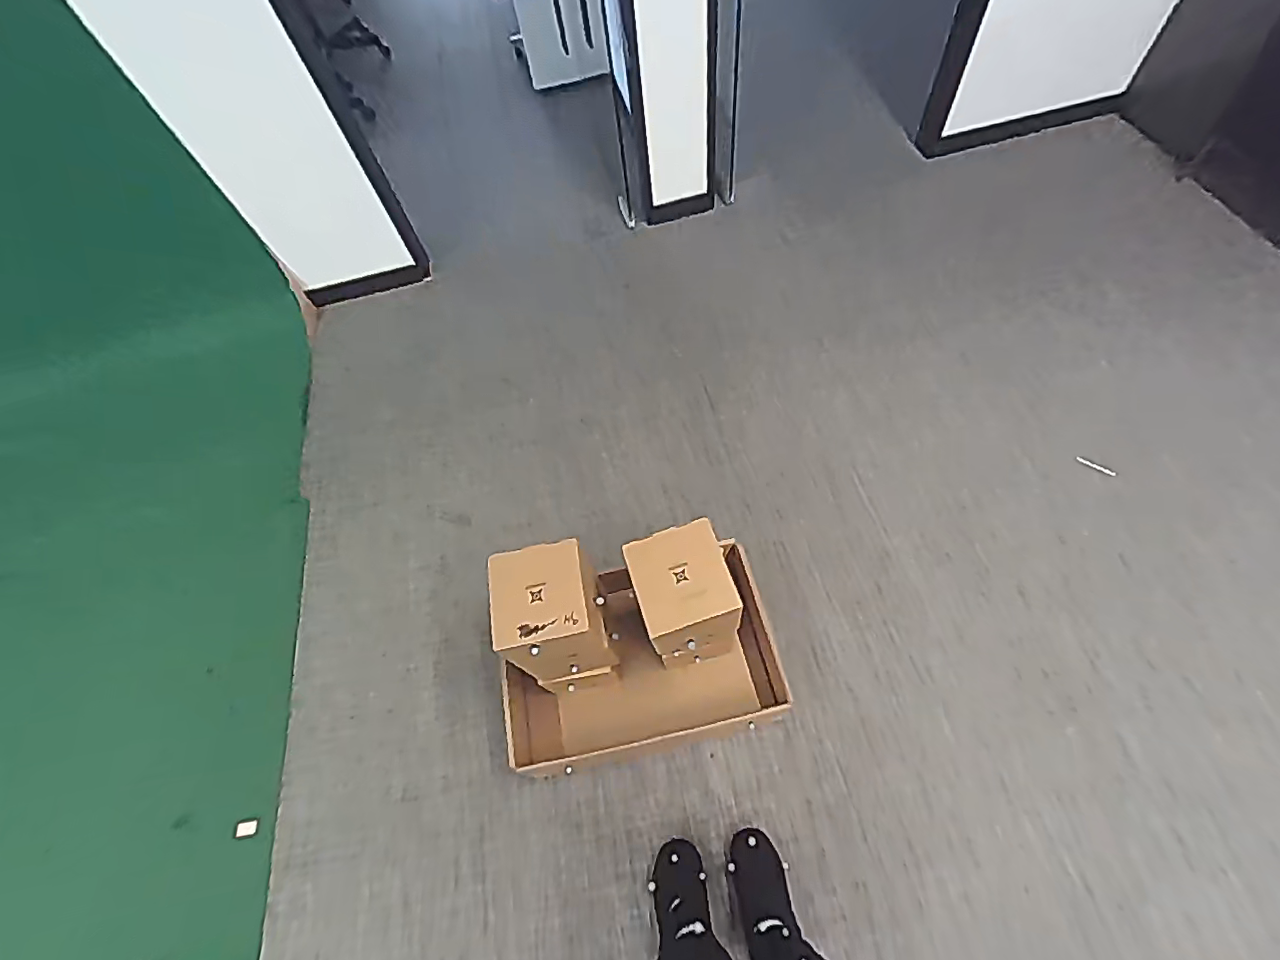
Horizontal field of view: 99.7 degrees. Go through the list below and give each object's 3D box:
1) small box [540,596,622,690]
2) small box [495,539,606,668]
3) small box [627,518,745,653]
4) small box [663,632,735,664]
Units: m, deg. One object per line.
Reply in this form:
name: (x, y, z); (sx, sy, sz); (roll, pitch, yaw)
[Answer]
small box: (-0.141, 0.398, 1.297); (0.168, 0.176, 0.179); (-10, 60, 0)
small box: (-0.164, 0.235, 1.011); (0.168, 0.176, 0.179); (-12, 60, 1)
small box: (0.083, 0.200, 1.000); (0.168, 0.176, 0.179); (-18, 62, -1)
small box: (0.125, 0.332, 1.297); (0.168, 0.176, 0.179); (-14, 61, 0)
